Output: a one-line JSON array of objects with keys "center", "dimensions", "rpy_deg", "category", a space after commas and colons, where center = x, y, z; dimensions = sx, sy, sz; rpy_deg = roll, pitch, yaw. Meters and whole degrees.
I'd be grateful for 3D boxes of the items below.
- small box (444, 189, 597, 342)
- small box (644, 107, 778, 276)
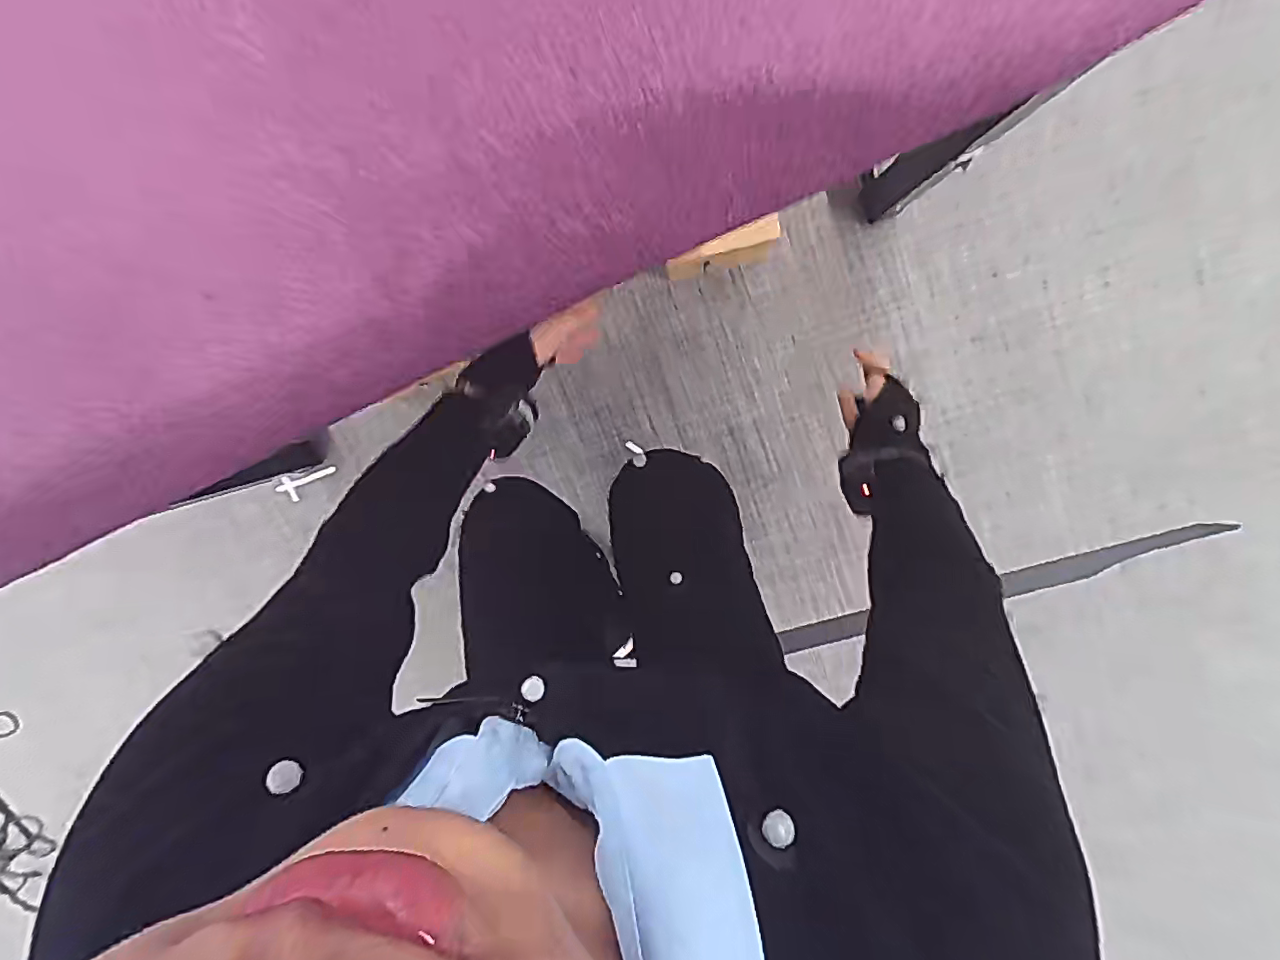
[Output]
[{"center": [-0.181, -0.333, 0.880], "dimensions": [0.168, 0.176, 0.179], "rpy_deg": [-18, 99, 8], "category": "small box"}, {"center": [0.110, -0.426, 0.837], "dimensions": [0.168, 0.176, 0.179], "rpy_deg": [-11, 100, 8], "category": "small box"}]
